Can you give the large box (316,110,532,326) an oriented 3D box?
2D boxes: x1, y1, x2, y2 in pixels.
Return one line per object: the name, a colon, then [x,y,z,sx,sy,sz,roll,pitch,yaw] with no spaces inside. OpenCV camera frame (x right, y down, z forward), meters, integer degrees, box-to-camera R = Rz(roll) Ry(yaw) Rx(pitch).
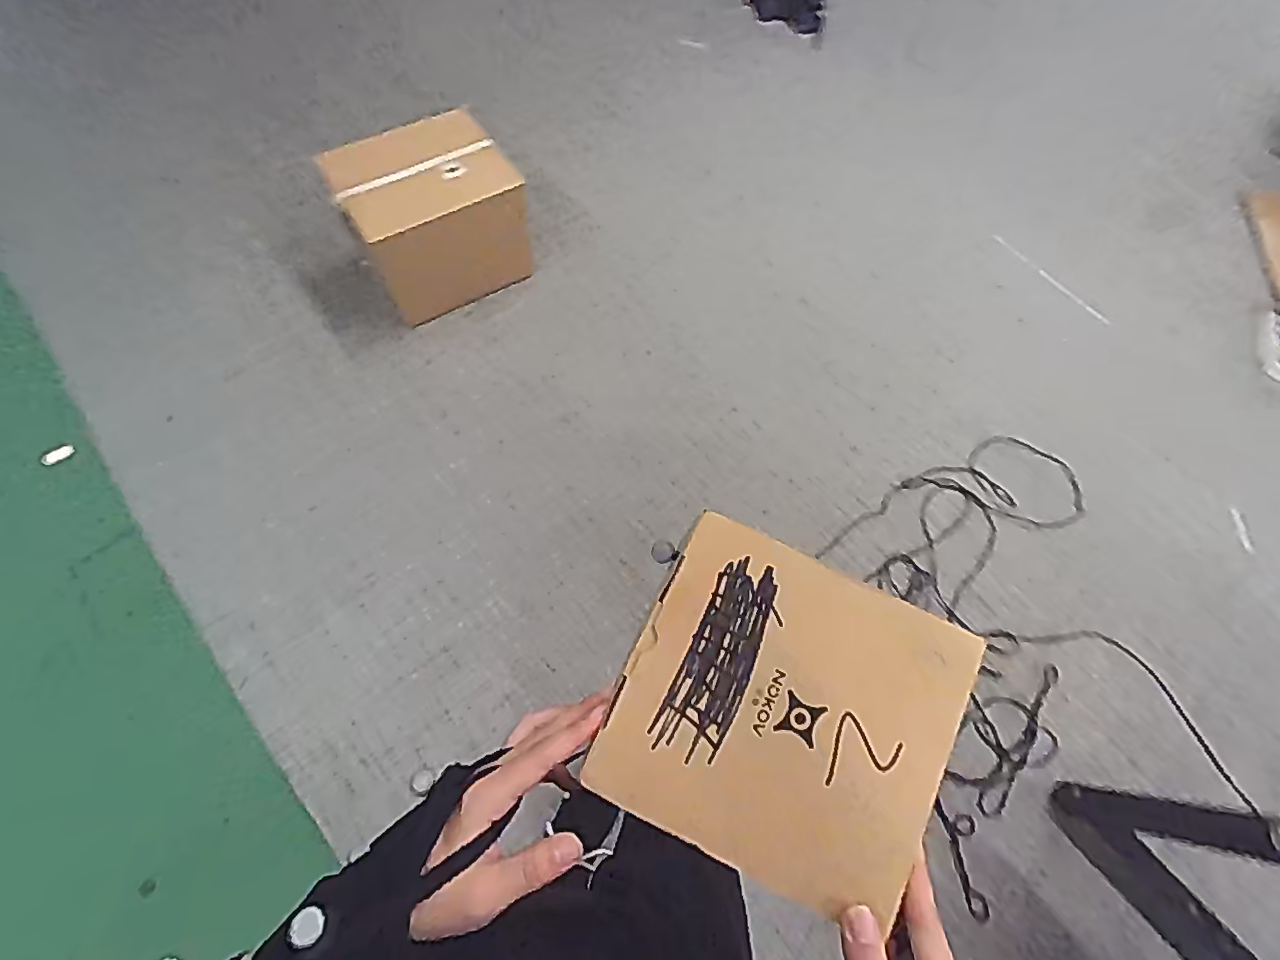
large box: [-0.545,-0.687,1.440,0.408,0.320,0.320,-32,75,-18]
